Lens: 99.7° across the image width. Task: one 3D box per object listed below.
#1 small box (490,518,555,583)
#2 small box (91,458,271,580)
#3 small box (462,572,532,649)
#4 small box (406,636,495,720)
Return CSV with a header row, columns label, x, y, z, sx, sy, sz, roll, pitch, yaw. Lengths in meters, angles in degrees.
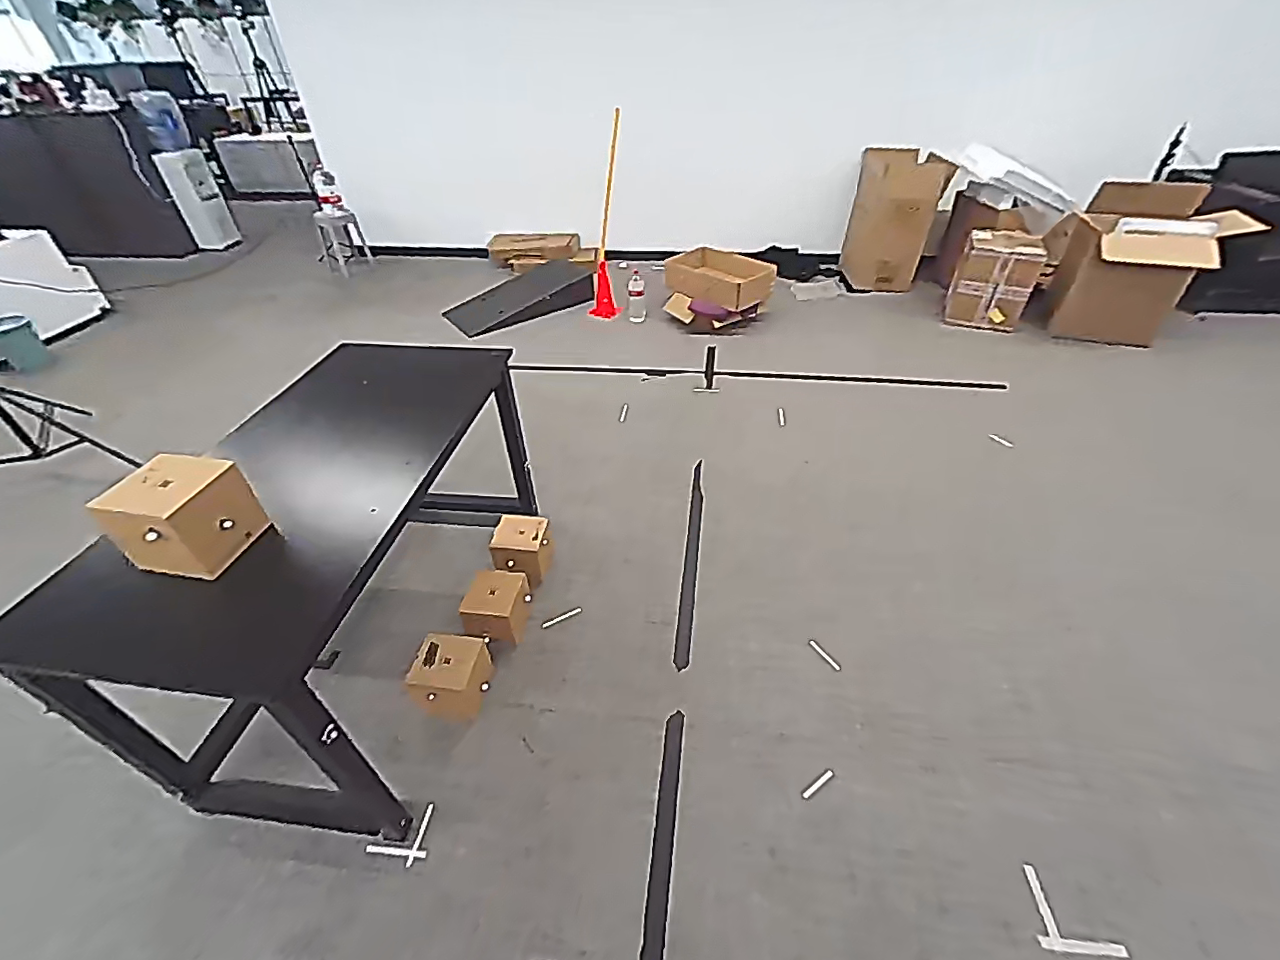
label,x,y,z,sx,sy,sz,roll,pitch,yaw
small box,-0.421,0.259,1.973,0.179,0.176,0.168,3,41,7
small box,-0.887,0.078,1.068,0.179,0.176,0.168,5,40,9
small box,-0.460,0.427,1.774,0.168,0.176,0.179,2,40,7
small box,-0.547,0.583,1.587,0.179,0.176,0.168,4,40,6
